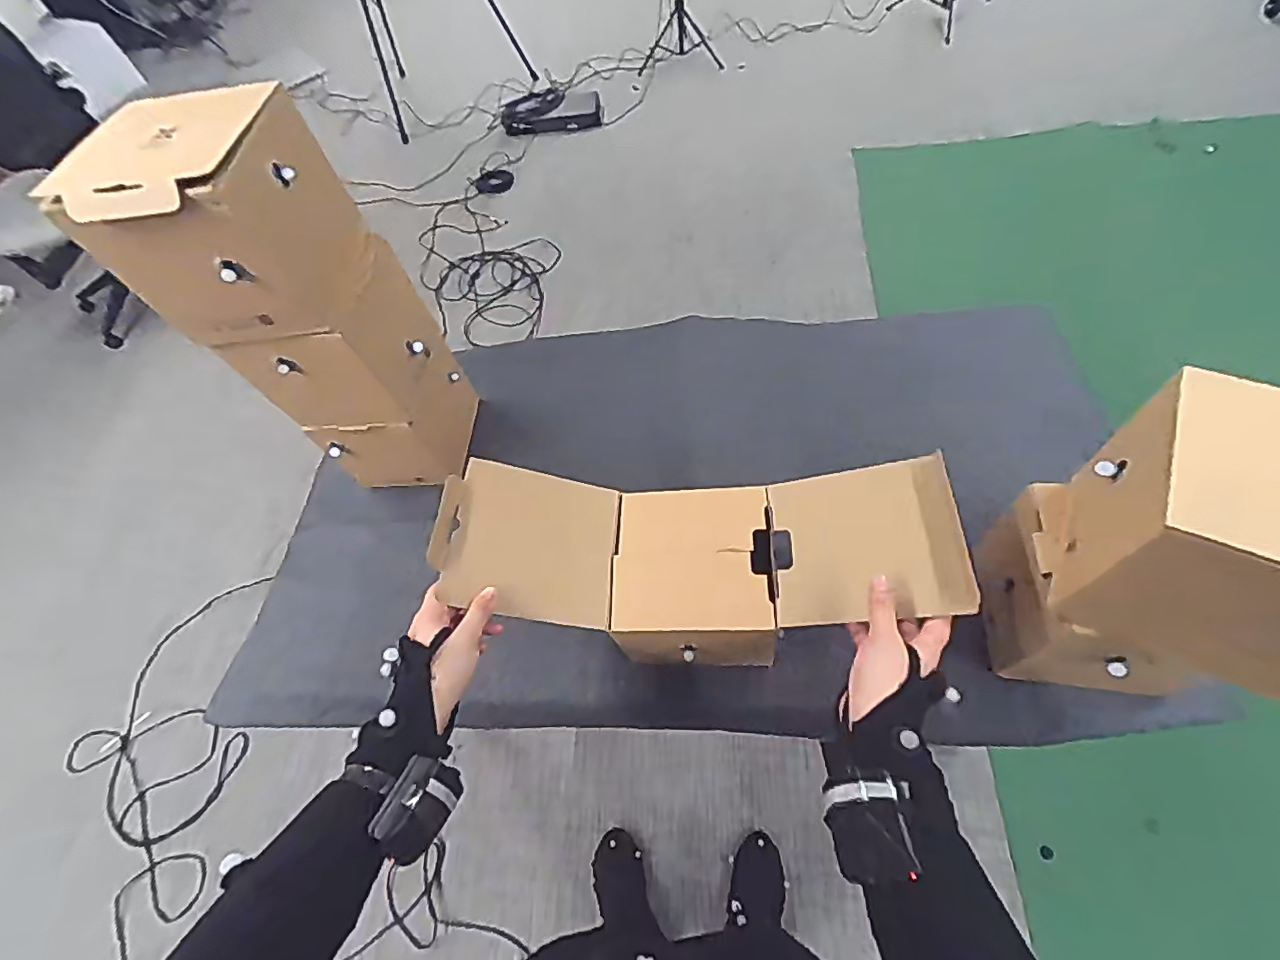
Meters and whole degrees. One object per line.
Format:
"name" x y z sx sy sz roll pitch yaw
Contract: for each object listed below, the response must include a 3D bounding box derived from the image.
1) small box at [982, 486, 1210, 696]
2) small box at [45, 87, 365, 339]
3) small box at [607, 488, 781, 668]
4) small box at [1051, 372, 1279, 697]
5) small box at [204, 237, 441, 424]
"small box" 0.493 0.122 0.578 0.179 0.176 0.168 3 58 12
"small box" -0.418 -0.263 0.562 0.168 0.176 0.179 -4 59 5
"small box" 0.069 0.122 0.646 0.179 0.176 0.168 -3 59 10
"small box" 0.474 0.049 0.432 0.179 0.176 0.168 23 63 21
"small box" -0.390 -0.185 0.701 0.179 0.176 0.168 -1 62 8
